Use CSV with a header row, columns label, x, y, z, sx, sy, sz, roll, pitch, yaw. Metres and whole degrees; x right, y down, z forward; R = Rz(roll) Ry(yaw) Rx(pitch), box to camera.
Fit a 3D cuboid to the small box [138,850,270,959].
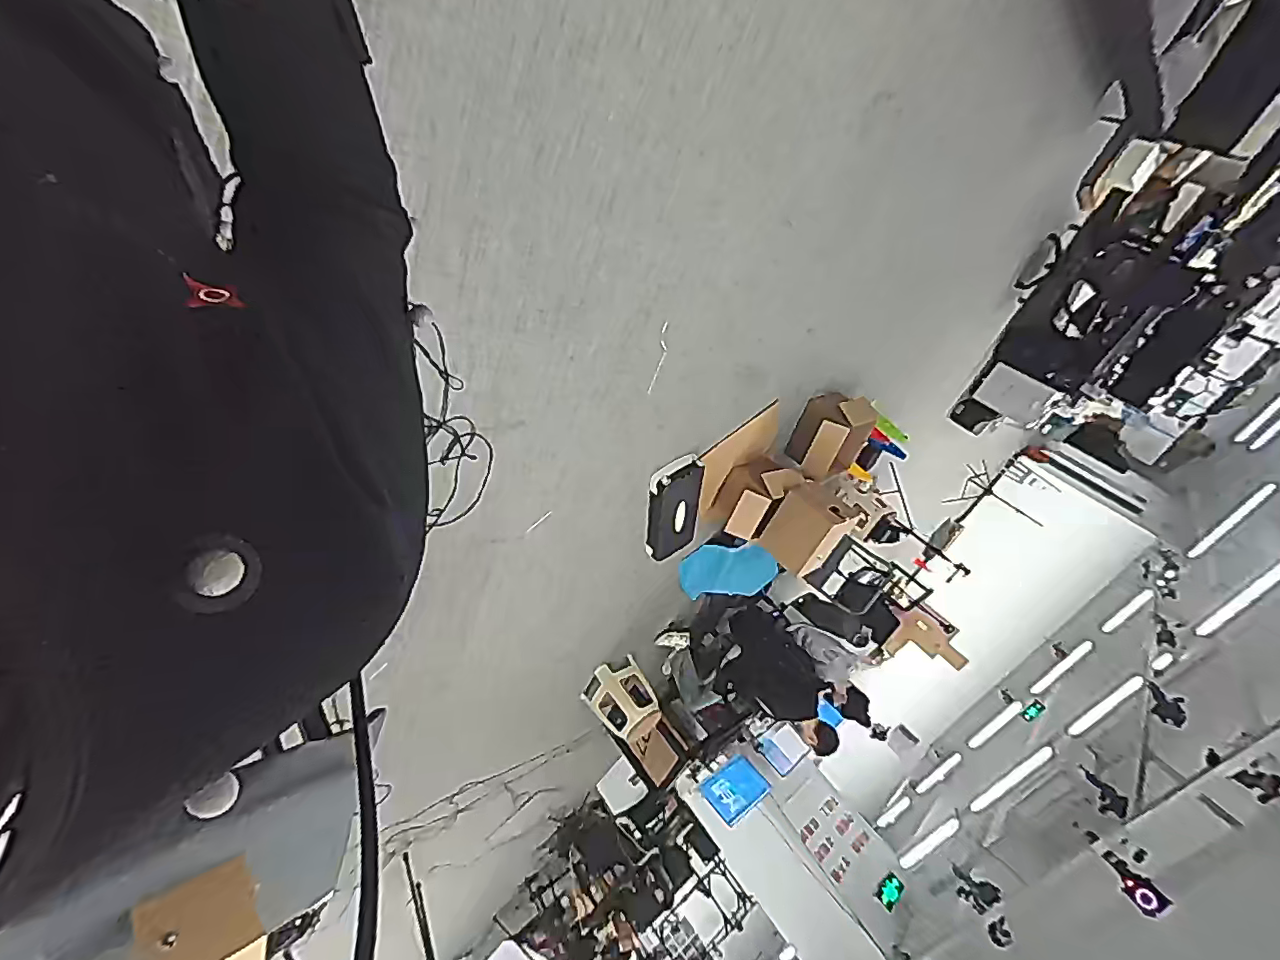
label,x,y,z,sx,sy,sz,roll,pitch,yaw
small box,-0.840,0.871,1.041,0.179,0.176,0.168,-10,135,-45
